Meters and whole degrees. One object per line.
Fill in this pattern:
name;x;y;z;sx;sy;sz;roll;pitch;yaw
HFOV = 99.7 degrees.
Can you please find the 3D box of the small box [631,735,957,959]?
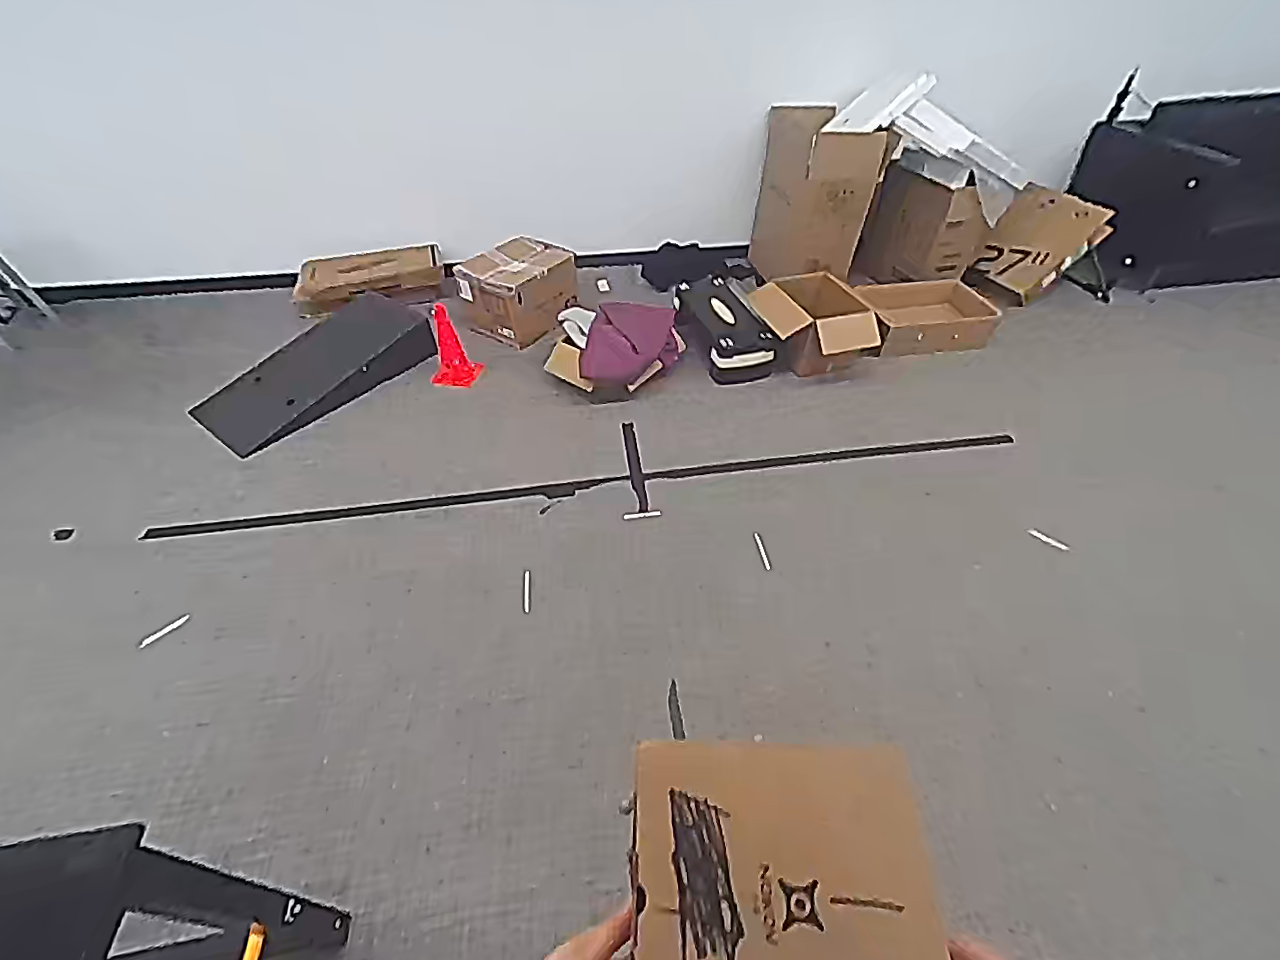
small box;0.084;0.279;0.369;0.179;0.176;0.168;1;57;0
